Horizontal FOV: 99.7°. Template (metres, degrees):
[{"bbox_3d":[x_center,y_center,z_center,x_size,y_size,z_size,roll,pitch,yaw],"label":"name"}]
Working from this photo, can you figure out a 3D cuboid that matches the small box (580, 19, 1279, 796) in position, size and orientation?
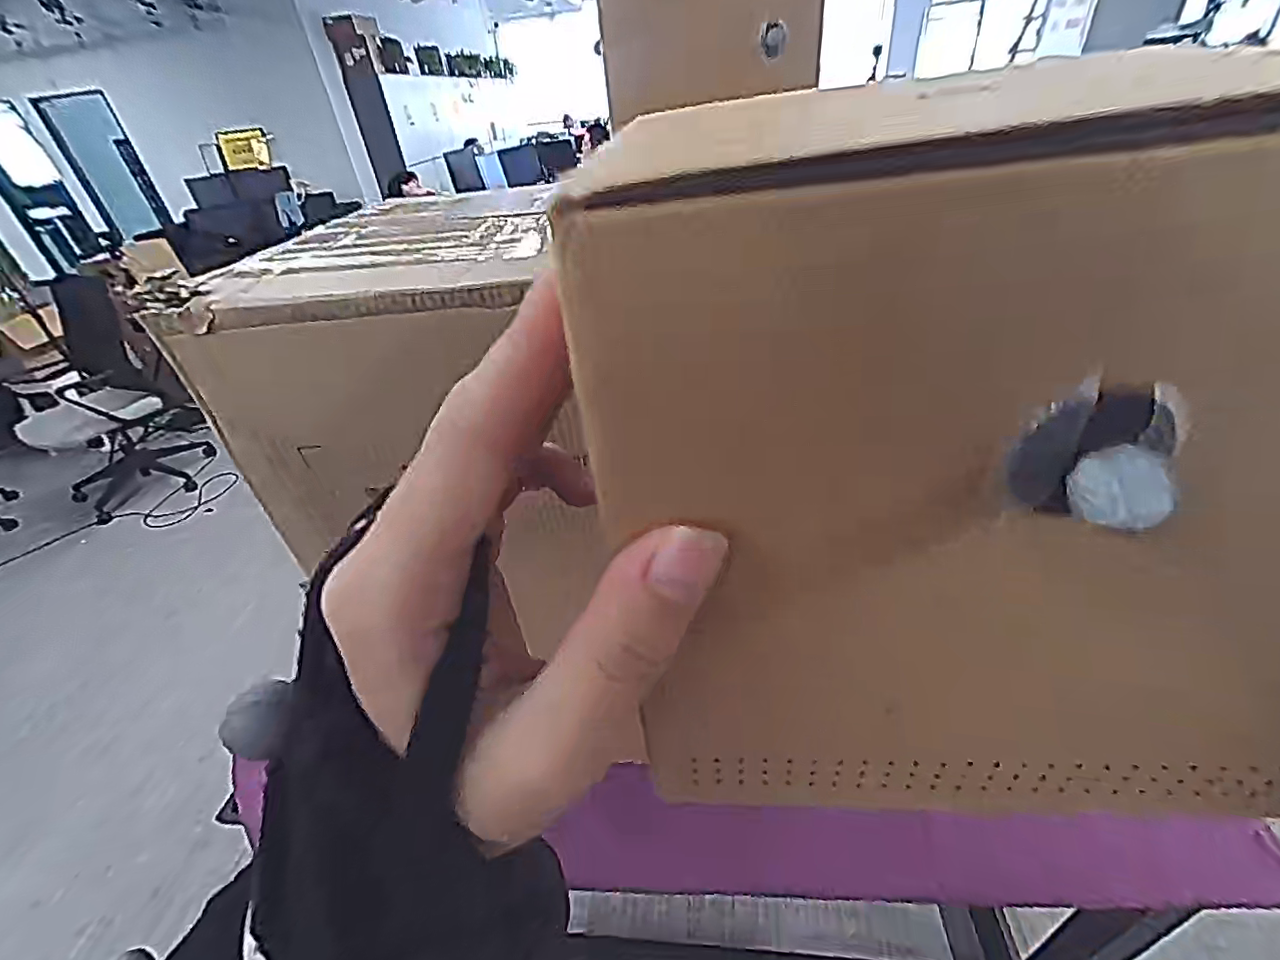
[{"bbox_3d":[0.093,-0.024,0.168,0.179,0.176,0.168,-2,37,7],"label":"small box"}]
